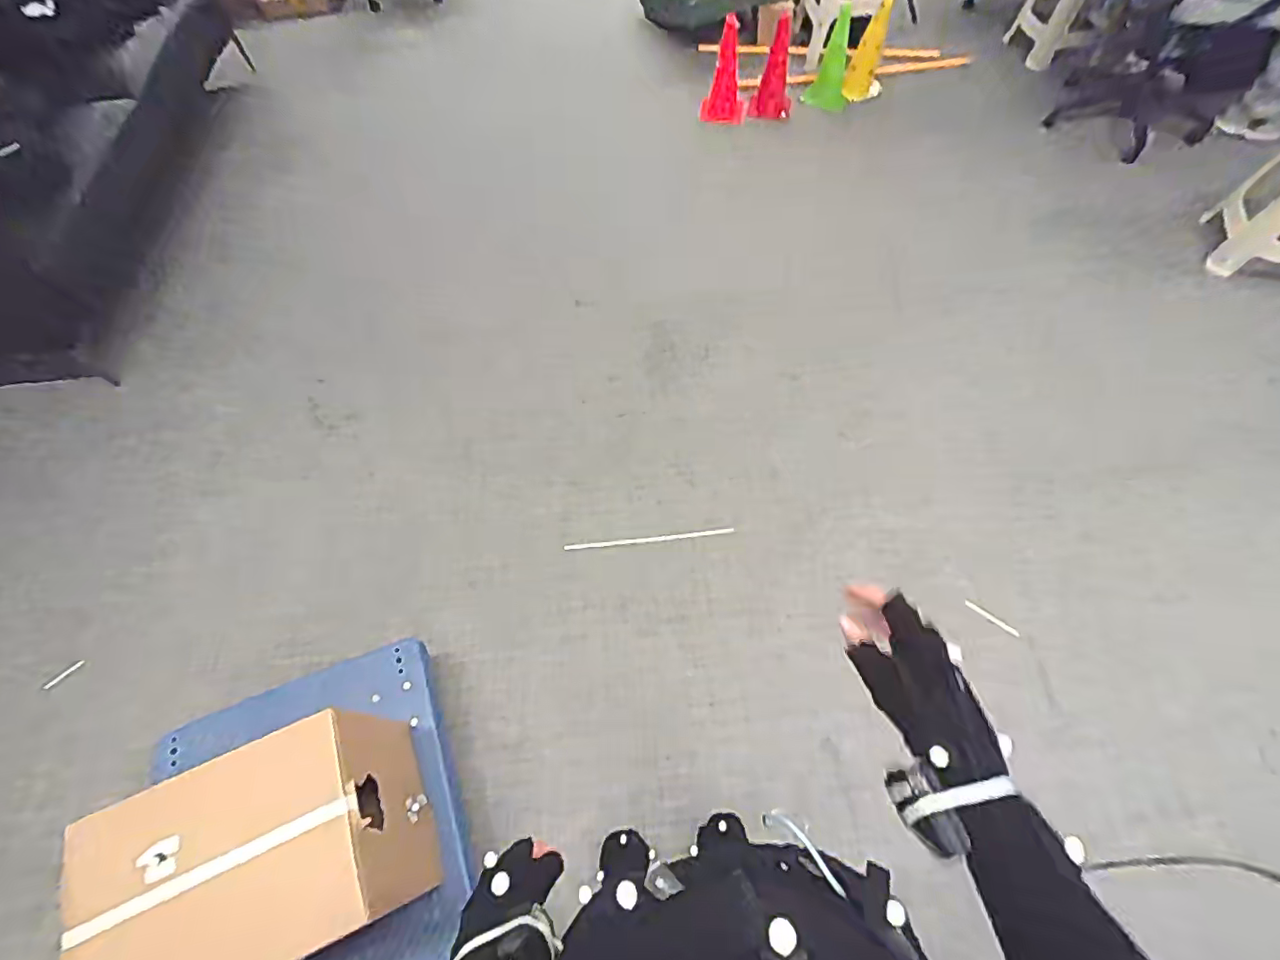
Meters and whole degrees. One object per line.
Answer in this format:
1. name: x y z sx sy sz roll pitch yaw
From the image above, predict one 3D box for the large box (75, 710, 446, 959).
1. large box: -0.614 0.649 0.935 0.408 0.320 0.320 -23 62 -9
